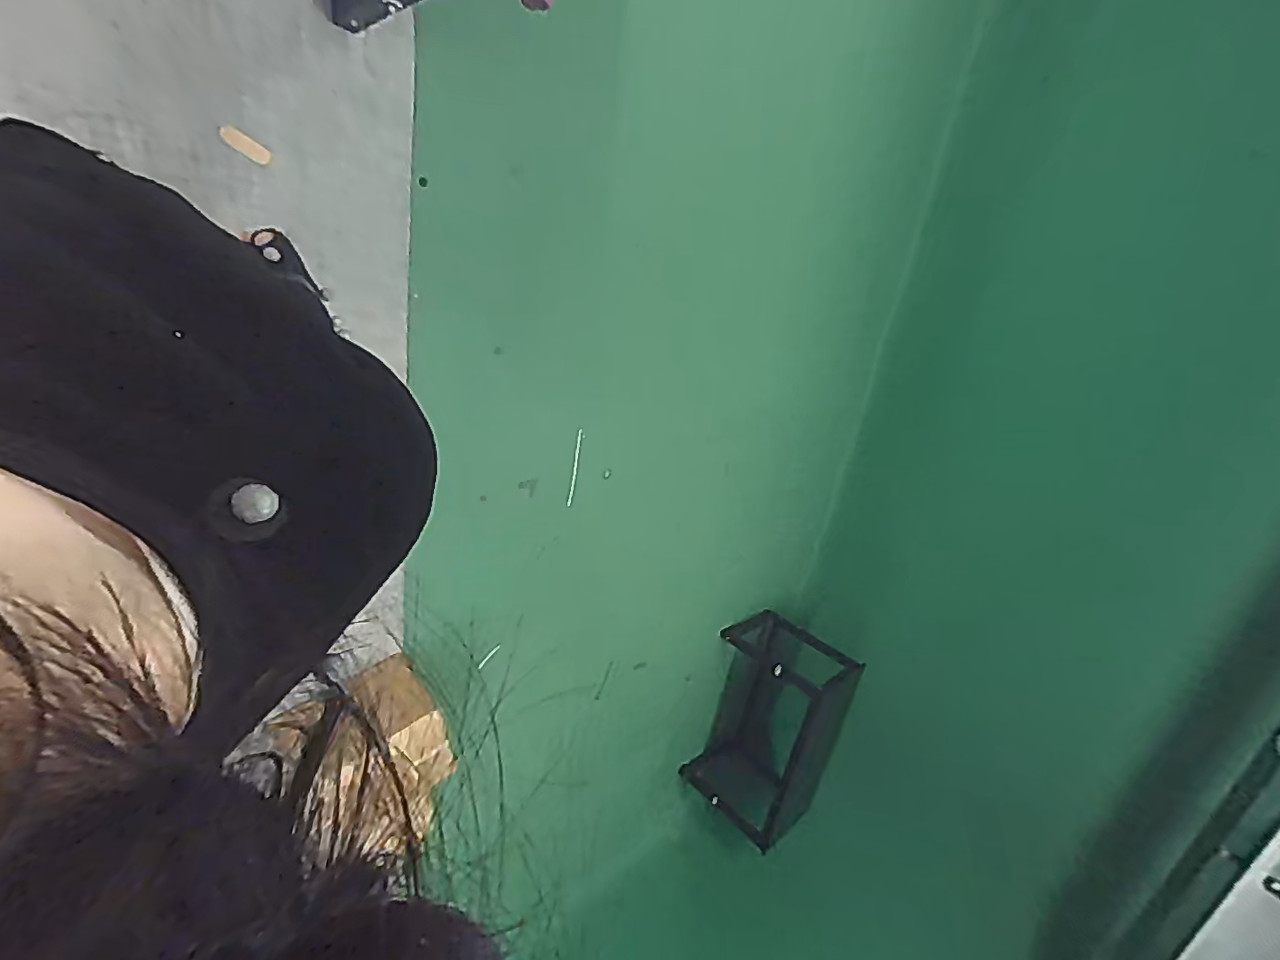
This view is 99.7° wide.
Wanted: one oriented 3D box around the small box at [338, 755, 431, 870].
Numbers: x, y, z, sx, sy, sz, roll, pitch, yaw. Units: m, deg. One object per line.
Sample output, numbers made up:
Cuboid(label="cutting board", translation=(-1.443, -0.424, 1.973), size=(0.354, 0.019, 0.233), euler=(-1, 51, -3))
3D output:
Cuboid(label="small box", translation=(-0.715, 0.920, 1.514), size=(0.179, 0.176, 0.168), euler=(-21, 123, -38))

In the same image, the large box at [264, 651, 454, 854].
Cuboid(label="large box", translation=(-0.864, 0.824, 1.688), size=(0.408, 0.320, 0.320), euler=(-26, 129, -37))
